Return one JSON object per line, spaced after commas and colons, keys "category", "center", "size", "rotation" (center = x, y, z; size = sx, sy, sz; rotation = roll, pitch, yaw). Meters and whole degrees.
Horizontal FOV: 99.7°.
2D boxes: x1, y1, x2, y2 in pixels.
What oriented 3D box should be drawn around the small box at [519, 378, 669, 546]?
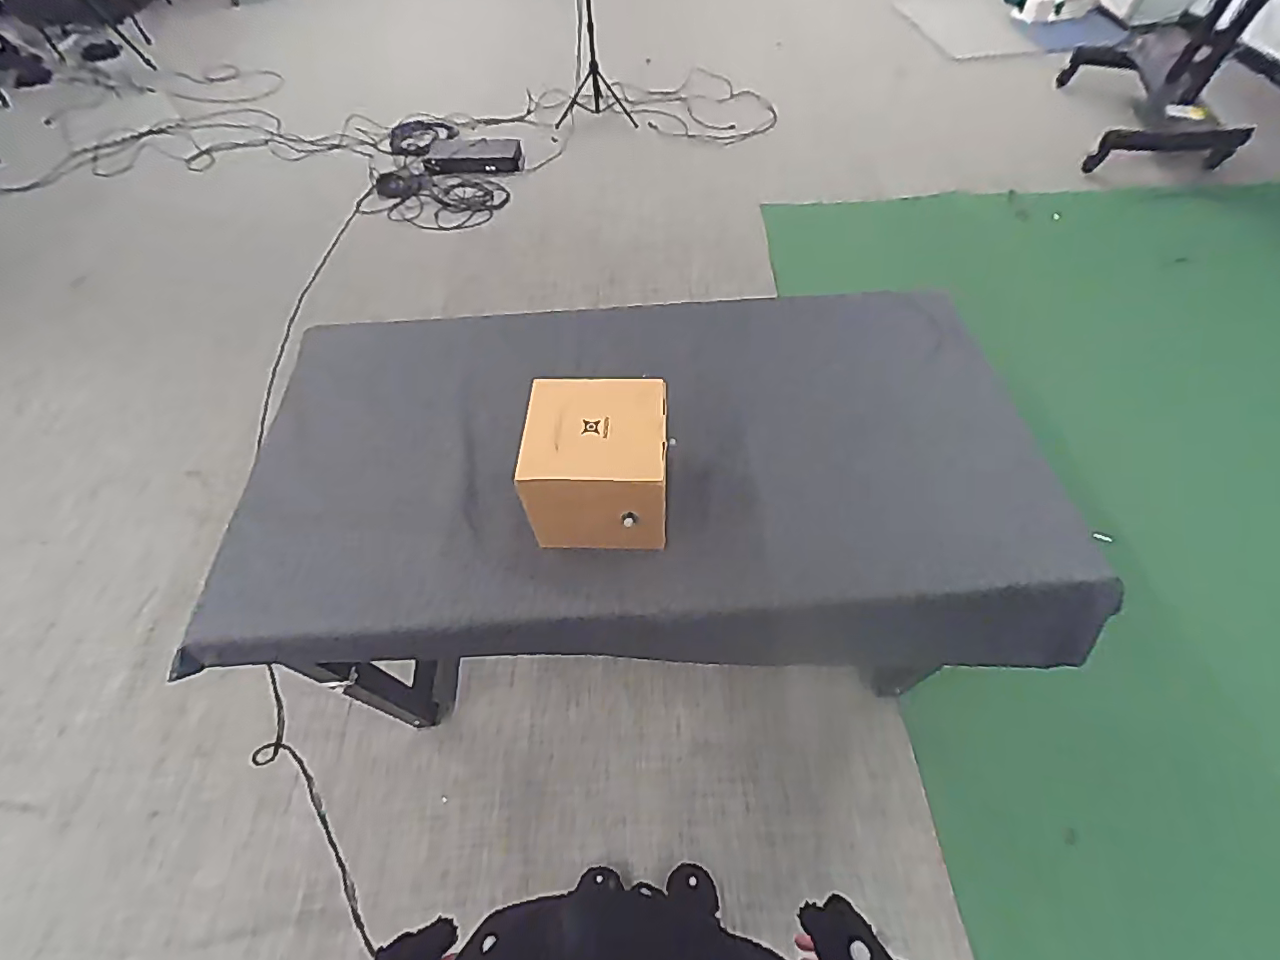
{"category": "small box", "center": [-0.049, -0.020, 0.735], "size": [0.179, 0.176, 0.168], "rotation": [0, 55, 3]}
